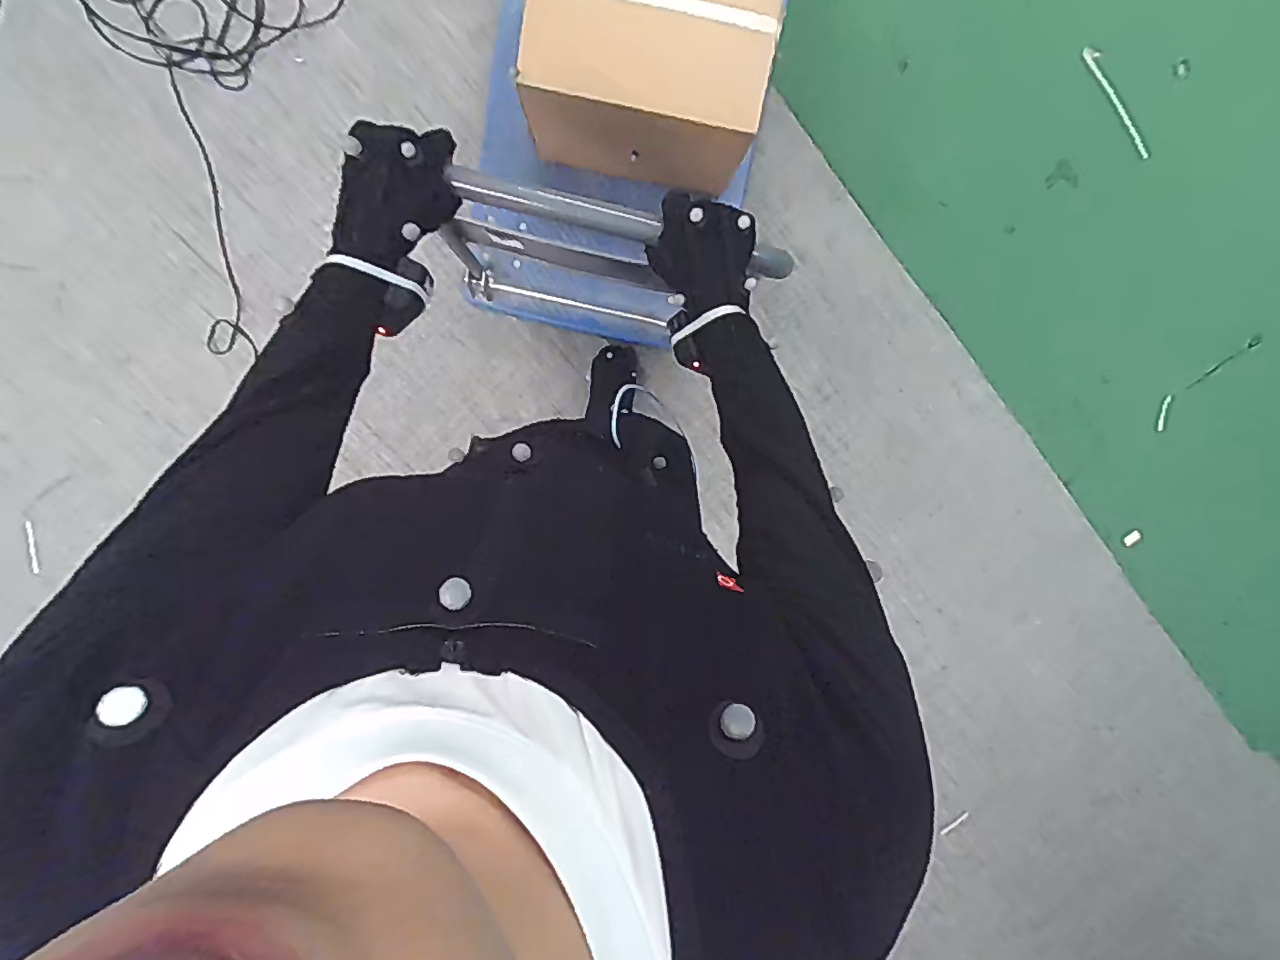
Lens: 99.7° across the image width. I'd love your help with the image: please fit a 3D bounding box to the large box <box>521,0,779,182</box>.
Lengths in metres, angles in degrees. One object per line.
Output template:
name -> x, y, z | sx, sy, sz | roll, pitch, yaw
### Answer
large box -> 0.020, -0.799, 1.009 | 0.408, 0.320, 0.320 | 9, 100, -4
